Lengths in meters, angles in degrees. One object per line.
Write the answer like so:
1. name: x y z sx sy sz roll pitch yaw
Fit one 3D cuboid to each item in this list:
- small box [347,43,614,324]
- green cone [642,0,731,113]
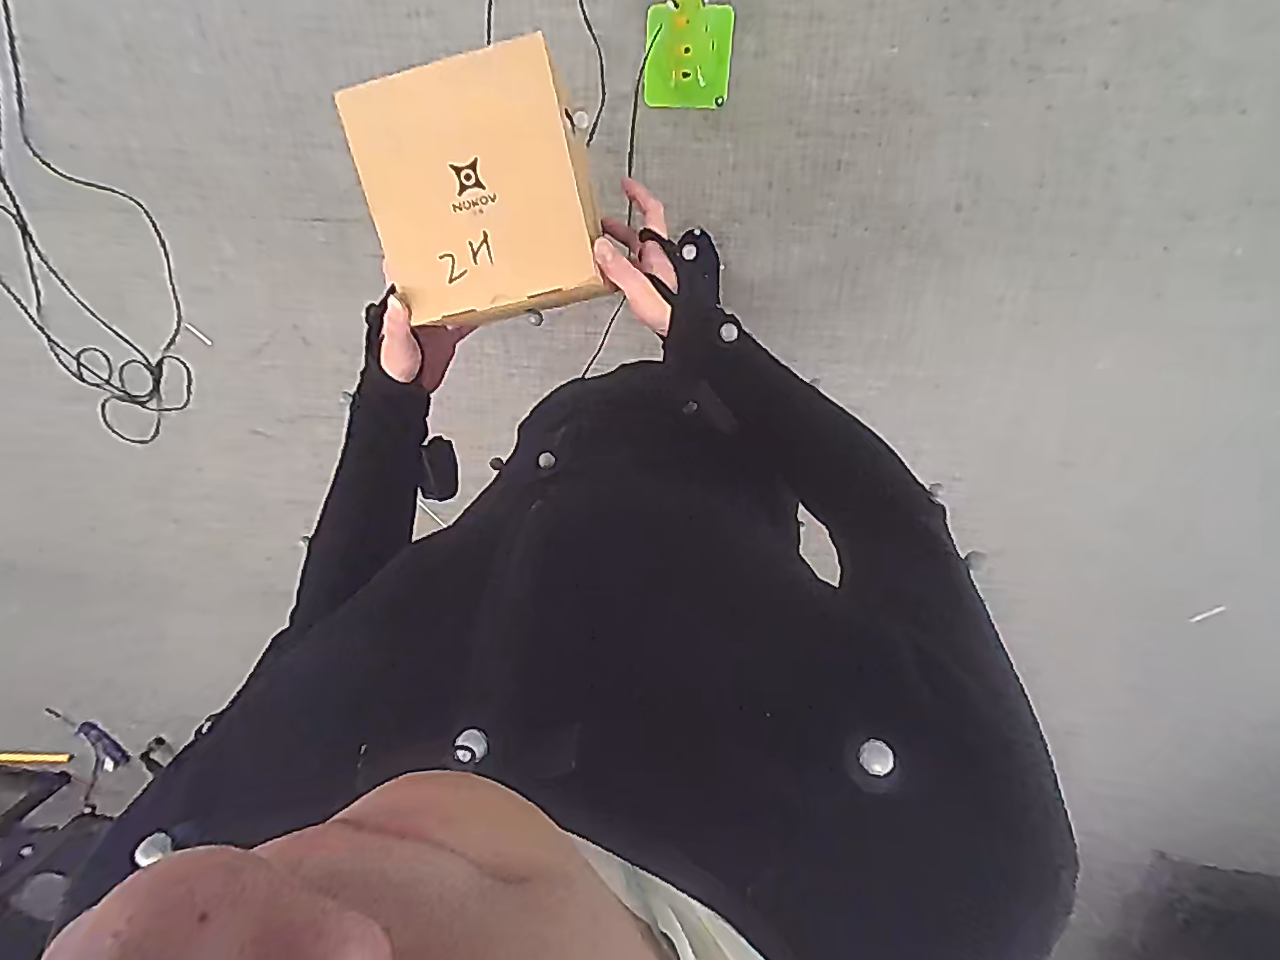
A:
1. small box: -0.125 -0.248 0.502 0.168 0.176 0.179 -10 106 6
2. green cone: 0.086 -0.926 1.114 0.202 0.368 0.200 5 110 6
